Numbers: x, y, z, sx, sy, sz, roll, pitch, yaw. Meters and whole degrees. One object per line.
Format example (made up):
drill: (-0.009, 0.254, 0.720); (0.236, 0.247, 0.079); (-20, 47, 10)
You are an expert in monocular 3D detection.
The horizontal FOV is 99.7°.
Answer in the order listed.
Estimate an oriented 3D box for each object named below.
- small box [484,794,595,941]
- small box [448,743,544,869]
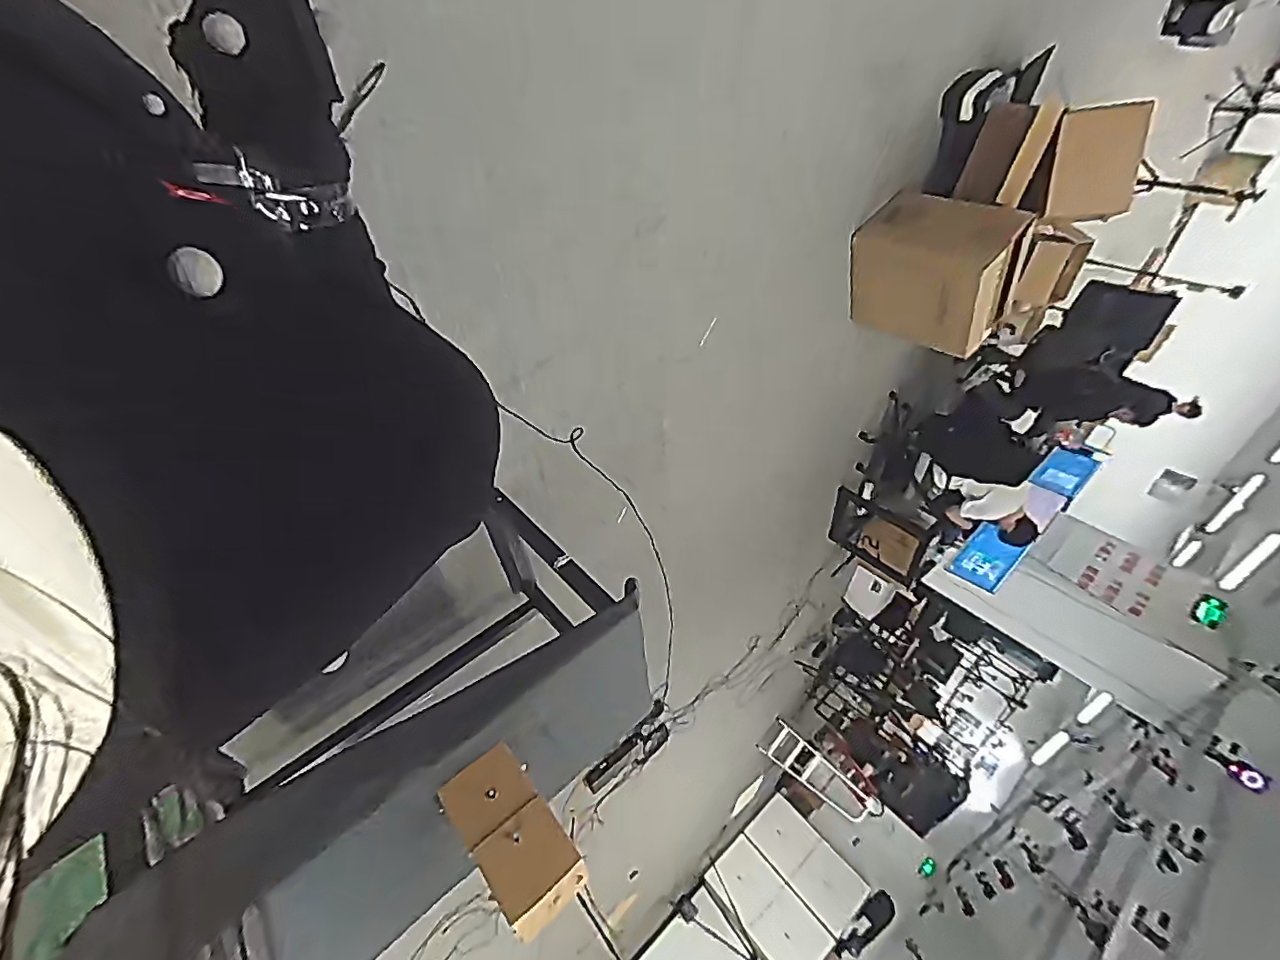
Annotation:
small box: (-0.222, 0.840, 1.180); (0.179, 0.176, 0.168); (-31, 138, -28)
small box: (-0.332, 0.771, 1.279); (0.179, 0.176, 0.168); (-33, 139, -29)
